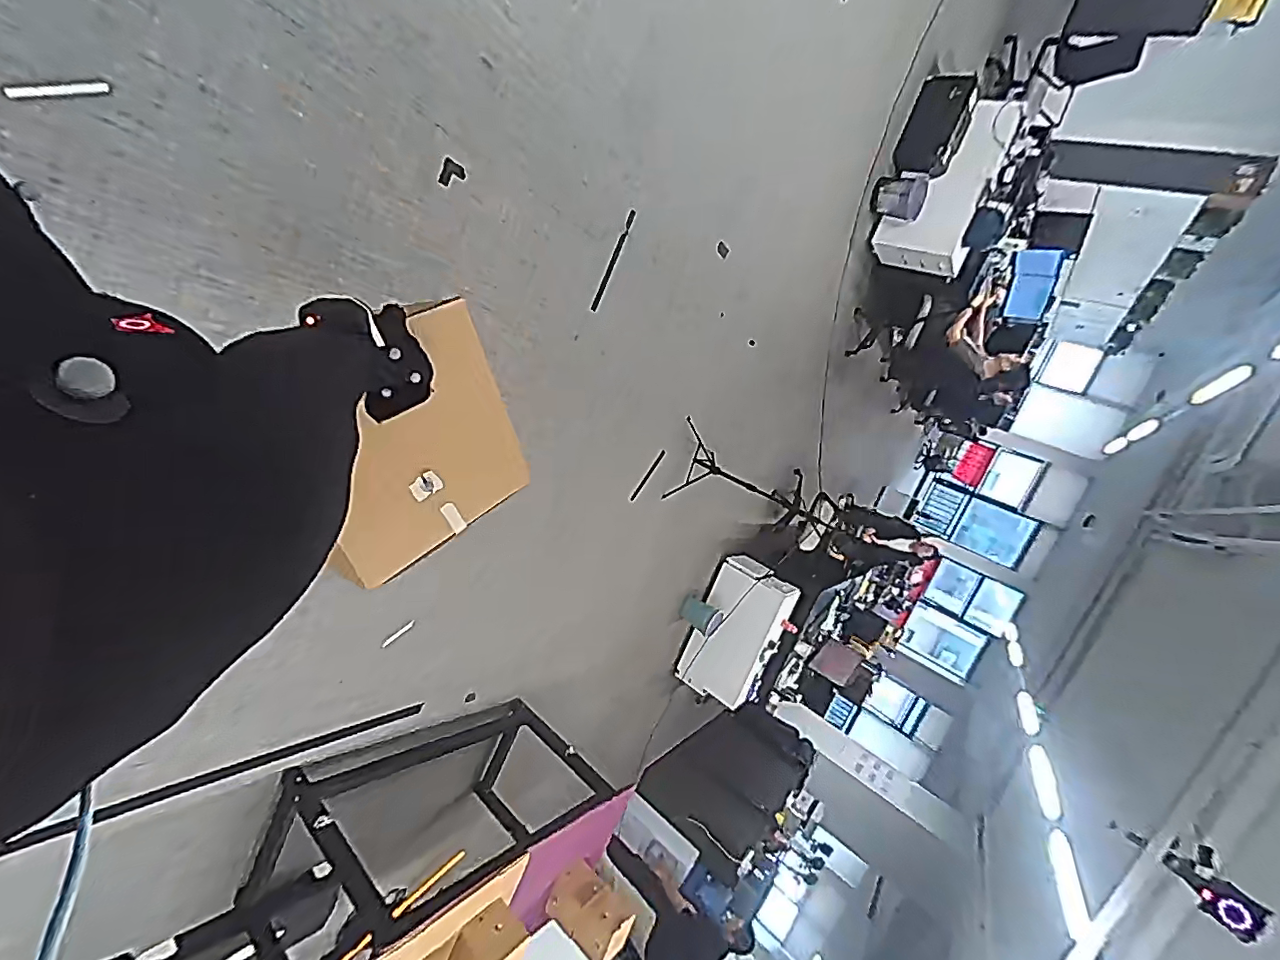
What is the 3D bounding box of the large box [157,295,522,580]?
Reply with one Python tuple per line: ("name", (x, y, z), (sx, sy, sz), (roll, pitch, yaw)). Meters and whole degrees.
("large box", (-0.472, -0.081, 0.880), (0.320, 0.408, 0.320), (-40, 125, -39))
